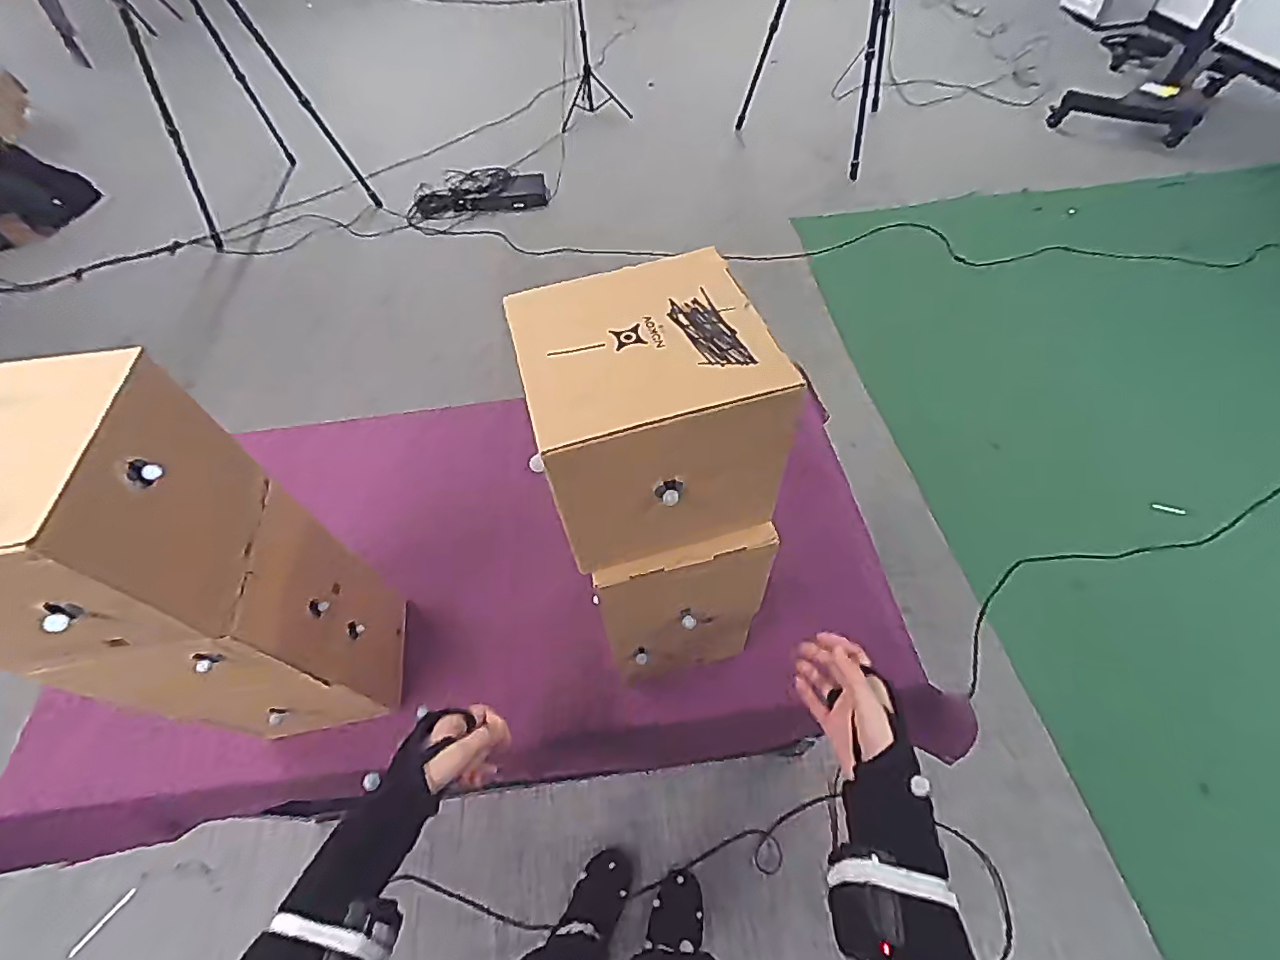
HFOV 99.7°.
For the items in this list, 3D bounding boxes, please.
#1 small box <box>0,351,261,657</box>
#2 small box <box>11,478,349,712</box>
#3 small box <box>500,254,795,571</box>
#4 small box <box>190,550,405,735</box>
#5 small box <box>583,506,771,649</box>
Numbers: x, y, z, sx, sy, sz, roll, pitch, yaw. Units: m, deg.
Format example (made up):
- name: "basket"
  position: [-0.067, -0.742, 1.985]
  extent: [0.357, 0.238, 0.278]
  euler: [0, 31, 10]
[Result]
- name: "small box"
  position: [-0.444, 0.027, 0.425]
  extent: [0.168, 0.176, 0.179]
  euler: [-7, 54, -3]
- name: "small box"
  position: [-0.437, 0.123, 0.556]
  extent: [0.179, 0.176, 0.168]
  euler: [-9, 54, -4]
- name: "small box"
  position: [0.000, -0.050, 0.443]
  extent: [0.179, 0.176, 0.168]
  euler: [-15, 54, -6]
- name: "small box"
  position: [-0.428, 0.212, 0.691]
  extent: [0.179, 0.176, 0.168]
  euler: [-10, 55, -3]
- name: "small box"
  position: [0.021, 0.053, 0.571]
  extent: [0.168, 0.176, 0.179]
  euler: [-13, 55, -4]
